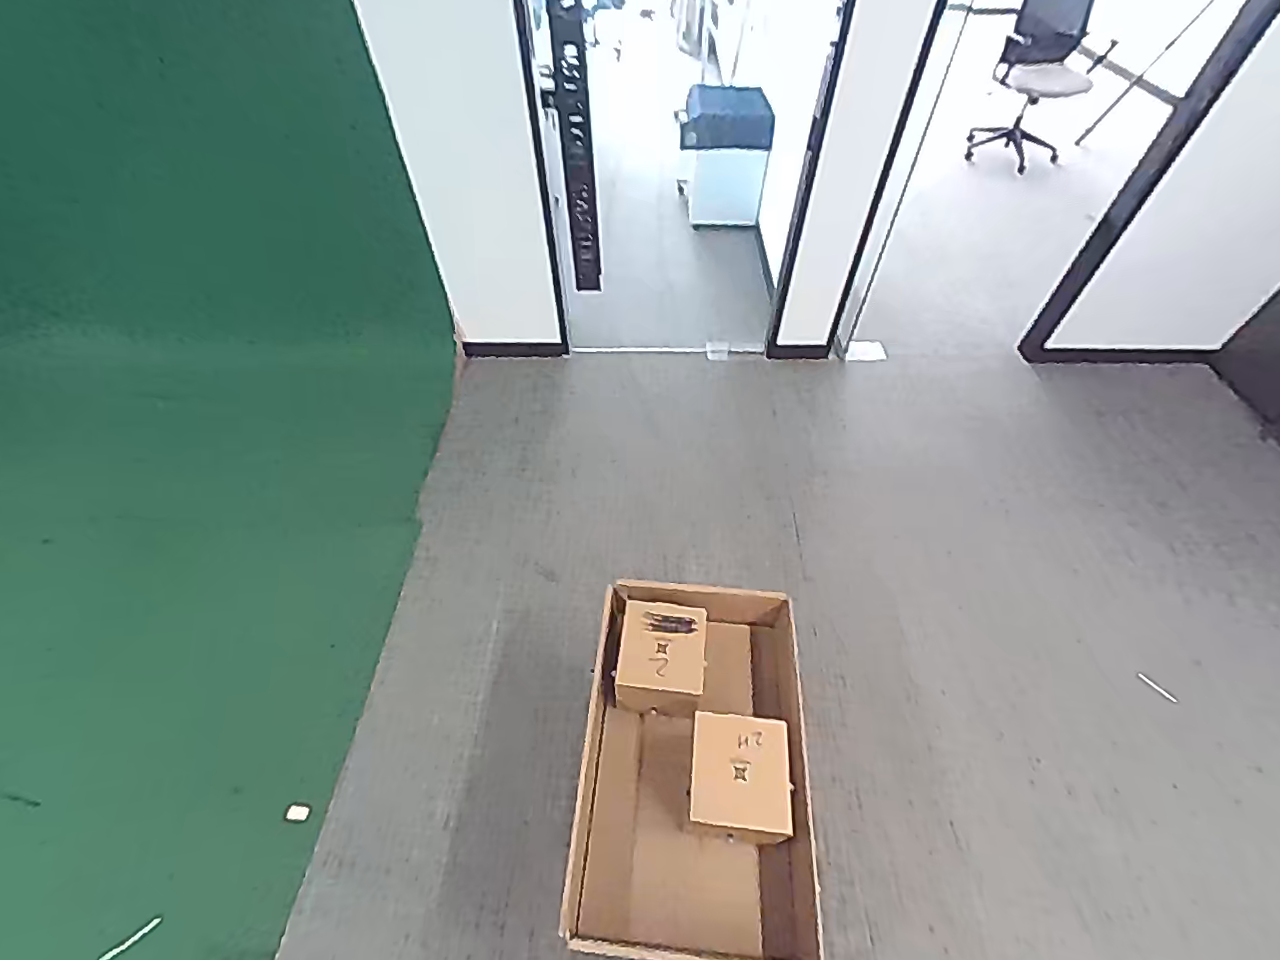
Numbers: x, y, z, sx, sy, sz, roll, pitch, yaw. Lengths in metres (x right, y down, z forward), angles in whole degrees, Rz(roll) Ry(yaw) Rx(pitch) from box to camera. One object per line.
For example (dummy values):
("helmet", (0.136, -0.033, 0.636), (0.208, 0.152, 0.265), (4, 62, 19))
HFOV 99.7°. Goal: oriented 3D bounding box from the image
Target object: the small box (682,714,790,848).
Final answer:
("small box", (0.168, 0.543, 0.970), (0.168, 0.176, 0.179), (7, 52, 4))
